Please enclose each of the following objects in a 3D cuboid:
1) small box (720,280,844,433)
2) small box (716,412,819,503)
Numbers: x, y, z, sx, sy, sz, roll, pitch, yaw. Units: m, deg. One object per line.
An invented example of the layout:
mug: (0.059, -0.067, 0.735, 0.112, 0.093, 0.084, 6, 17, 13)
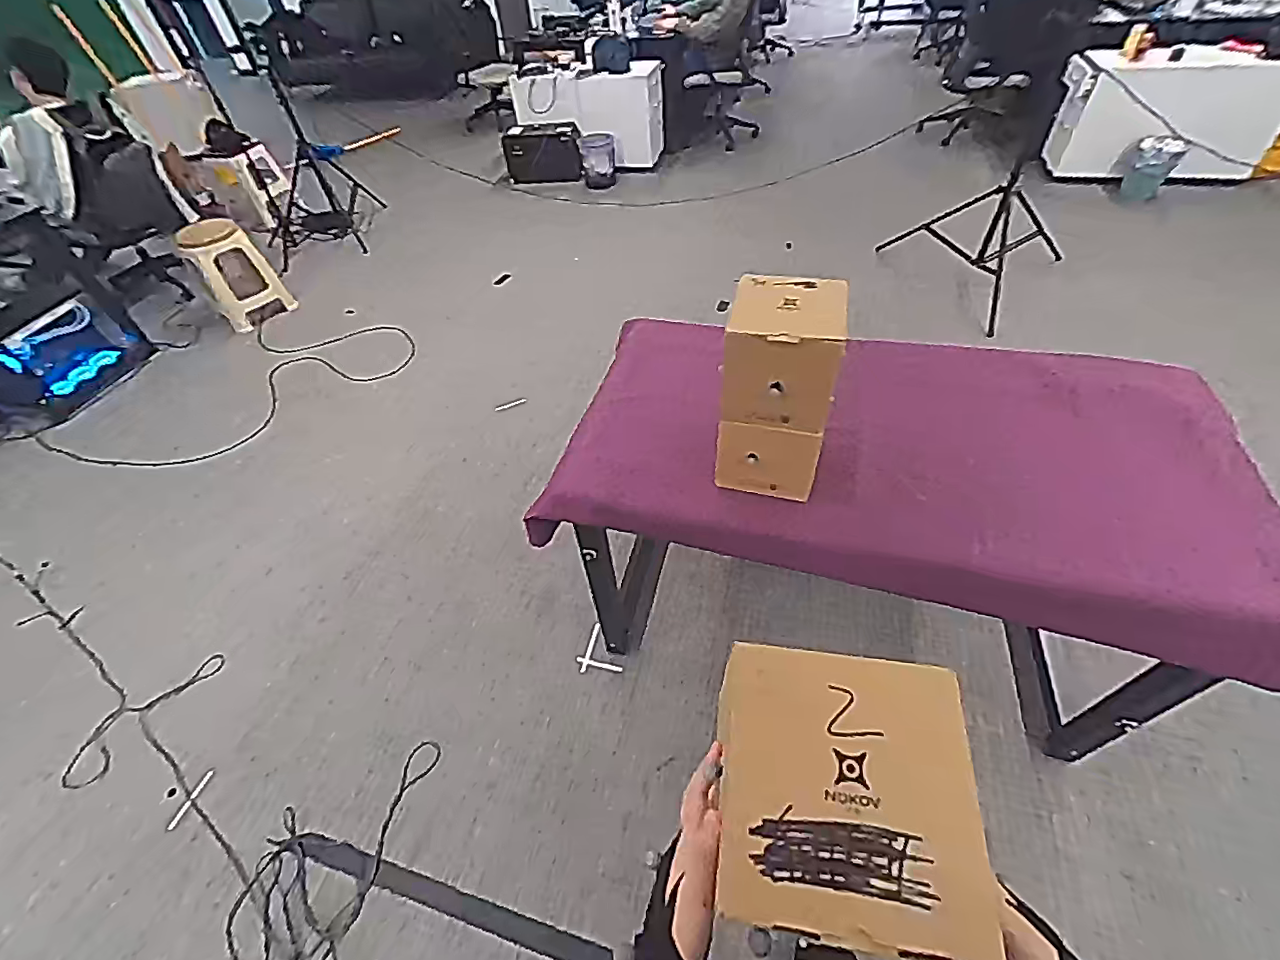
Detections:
small box: (0.223, -0.196, 0.867, 0.168, 0.176, 0.179, 9, 49, 13)
small box: (0.235, -0.082, 0.985, 0.168, 0.176, 0.179, 10, 49, 14)
